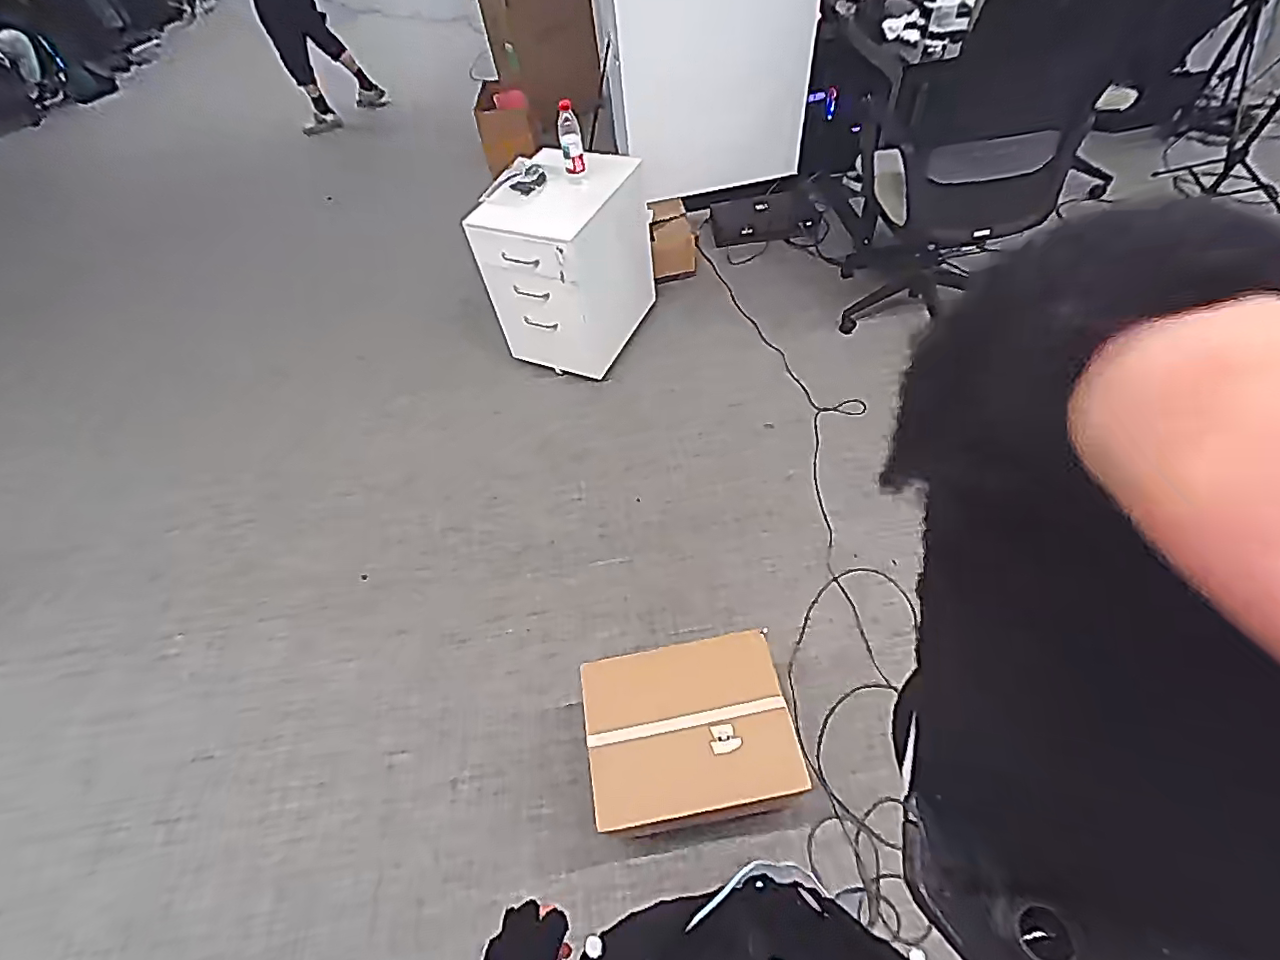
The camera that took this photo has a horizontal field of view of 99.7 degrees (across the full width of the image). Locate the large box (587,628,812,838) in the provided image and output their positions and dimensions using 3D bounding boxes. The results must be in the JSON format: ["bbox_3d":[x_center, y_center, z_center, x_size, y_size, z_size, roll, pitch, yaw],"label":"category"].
[{"bbox_3d":[0.116,0.571,1.206,0.408,0.320,0.320,-11,54,-1],"label":"large box"}]
